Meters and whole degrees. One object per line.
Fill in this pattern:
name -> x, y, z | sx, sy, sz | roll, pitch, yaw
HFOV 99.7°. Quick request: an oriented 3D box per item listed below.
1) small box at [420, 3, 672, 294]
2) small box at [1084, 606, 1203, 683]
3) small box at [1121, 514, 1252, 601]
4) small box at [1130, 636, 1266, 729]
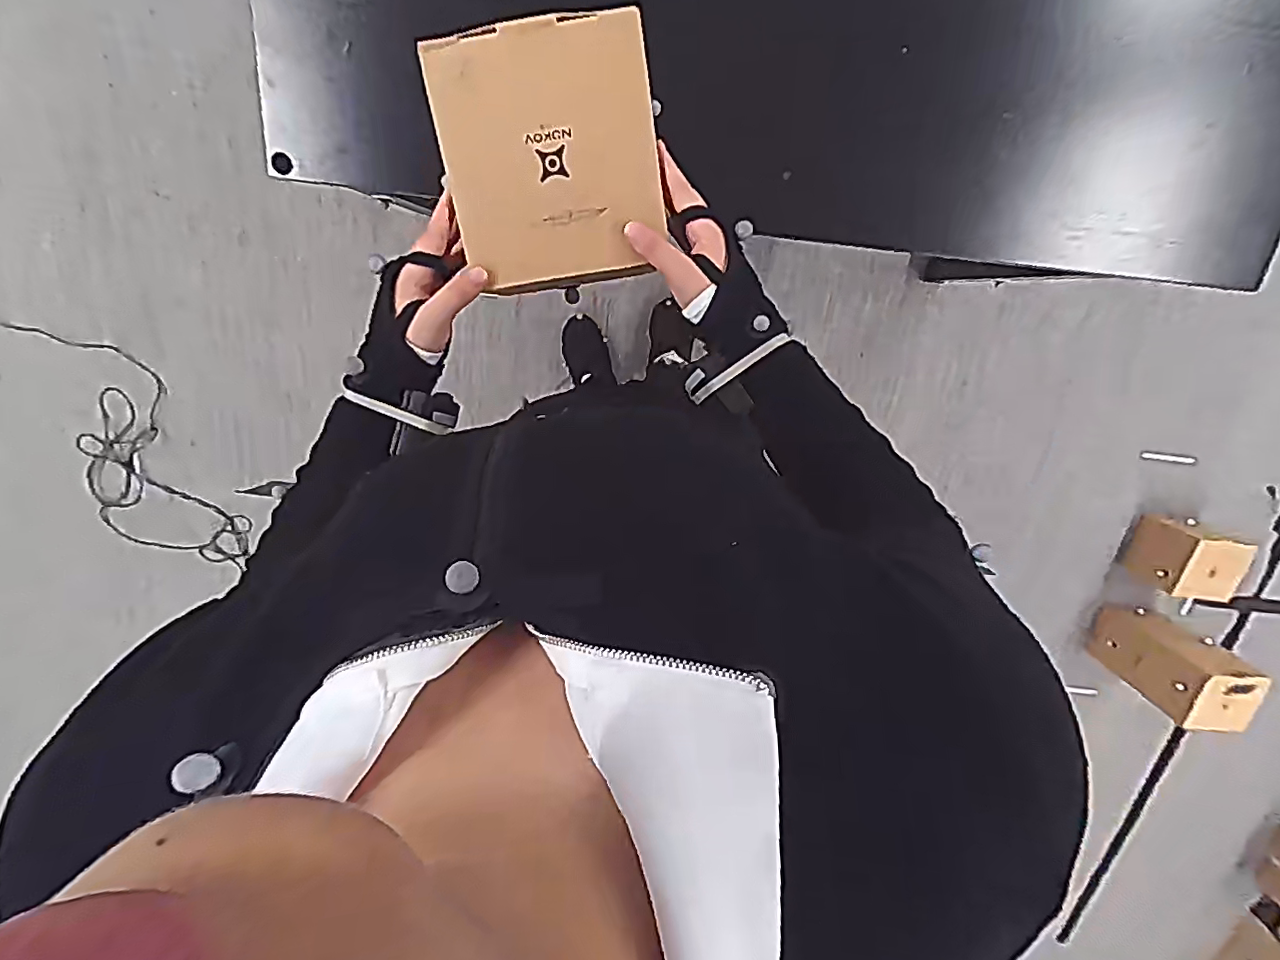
small box -> -0.070, -0.270, 0.486 | 0.168, 0.176, 0.179 | -9, 109, 1
small box -> 1.499, 0.495, 1.626 | 0.179, 0.176, 0.168 | 4, 110, -1
small box -> 1.523, 0.216, 1.524 | 0.168, 0.176, 0.179 | 7, 109, -3
small box -> 1.498, 0.544, 1.468 | 0.168, 0.176, 0.179 | 4, 111, -2
